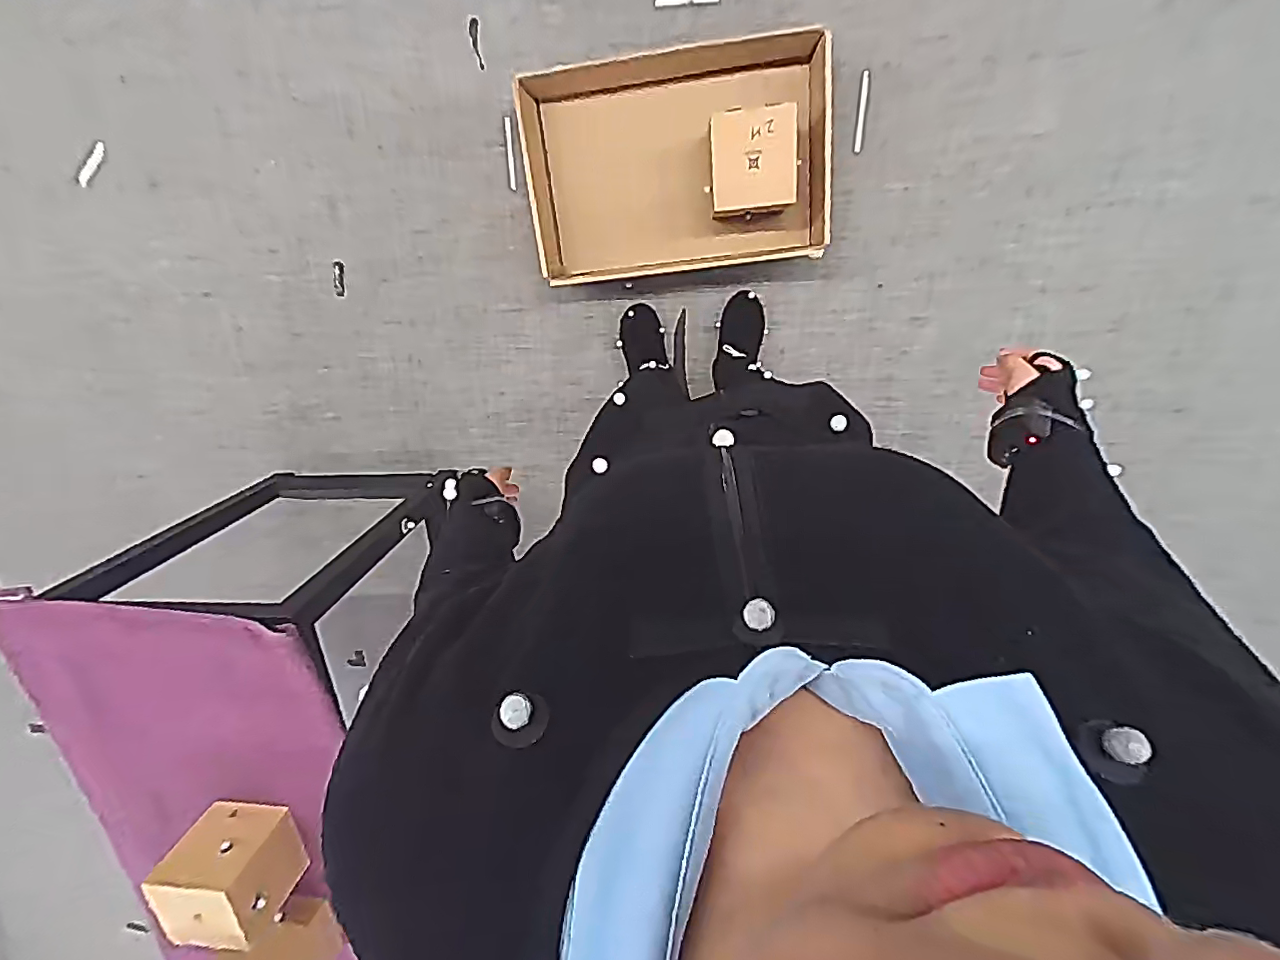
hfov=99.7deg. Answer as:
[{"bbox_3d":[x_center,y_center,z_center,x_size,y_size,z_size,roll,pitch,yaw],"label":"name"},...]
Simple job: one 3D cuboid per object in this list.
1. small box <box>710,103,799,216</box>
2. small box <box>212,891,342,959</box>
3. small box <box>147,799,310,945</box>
[{"bbox_3d":[0.234,-0.658,1.133,0.168,0.176,0.179,-3,110,6],"label":"small box"},{"bbox_3d":[-0.775,1.027,1.163,0.168,0.176,0.179,0,111,5],"label":"small box"},{"bbox_3d":[-0.792,0.761,1.062,0.168,0.176,0.179,1,112,5],"label":"small box"}]
